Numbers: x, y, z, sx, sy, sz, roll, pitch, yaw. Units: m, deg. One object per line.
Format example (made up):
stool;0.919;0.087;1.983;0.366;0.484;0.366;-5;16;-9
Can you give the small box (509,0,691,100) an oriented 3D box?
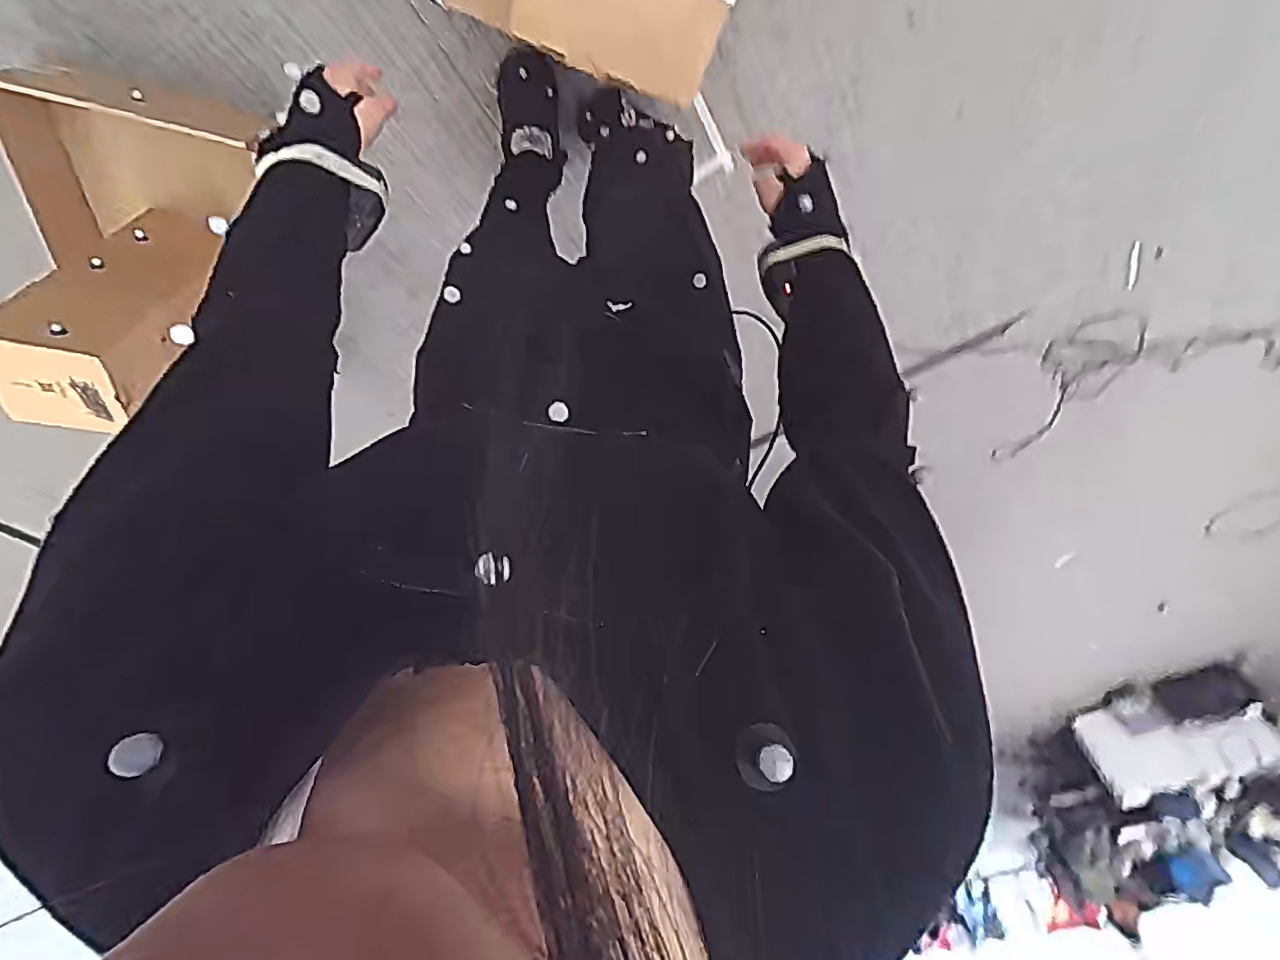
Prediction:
small box;-0.033;-0.546;0.566;0.168;0.176;0.179;11;132;-20

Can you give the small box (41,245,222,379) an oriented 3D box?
small box;-0.938;-0.320;1.020;0.179;0.176;0.168;9;133;-17

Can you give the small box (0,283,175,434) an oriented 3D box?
small box;-0.926;-0.204;0.903;0.179;0.176;0.168;9;133;-15

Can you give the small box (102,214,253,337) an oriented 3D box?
small box;-0.954;-0.433;1.135;0.179;0.176;0.168;10;133;-18
